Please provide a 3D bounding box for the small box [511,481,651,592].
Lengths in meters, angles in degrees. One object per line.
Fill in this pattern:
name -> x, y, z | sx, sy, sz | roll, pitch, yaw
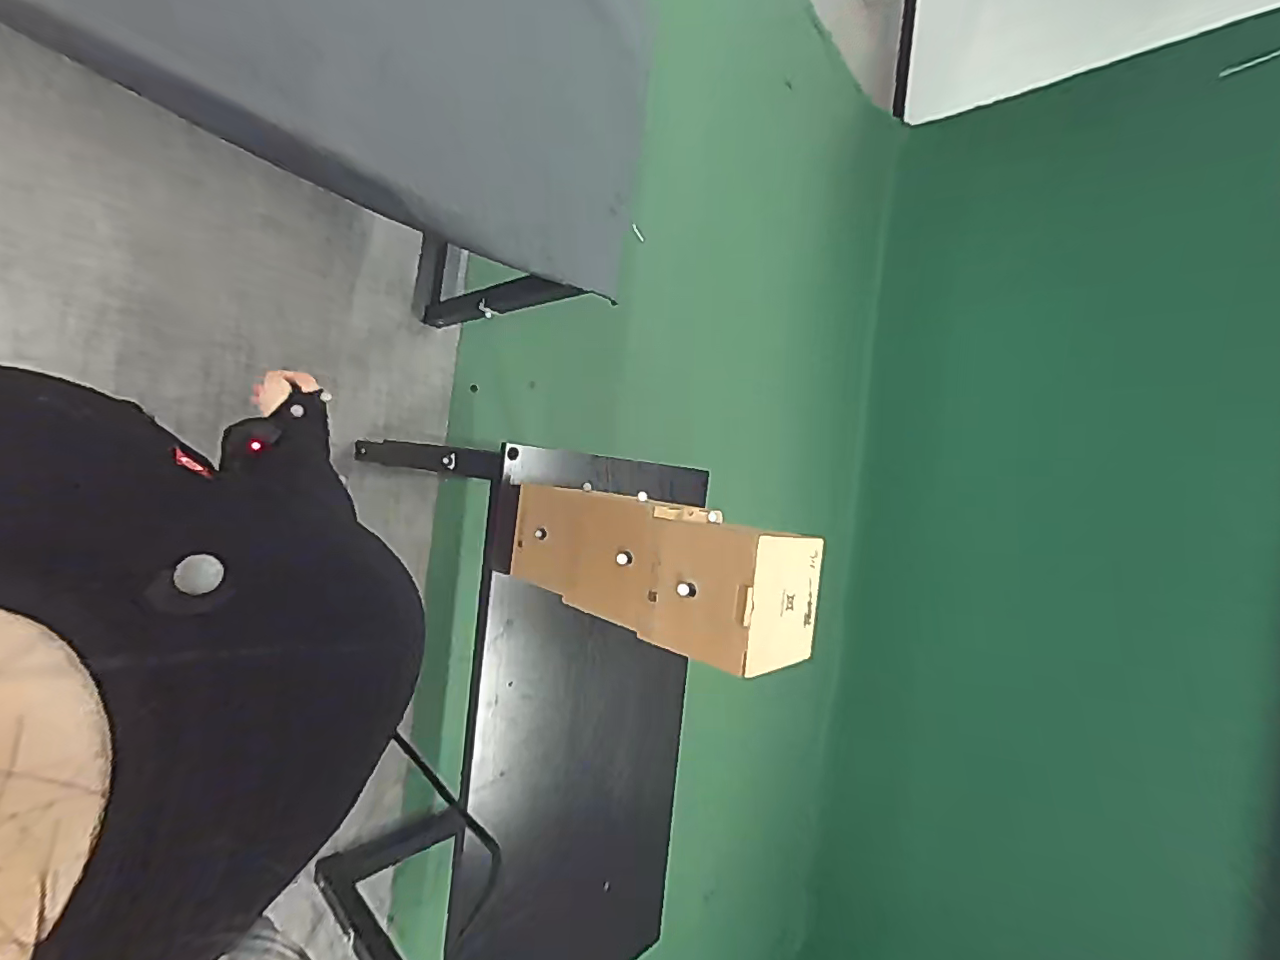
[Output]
small box -> -0.105, 0.095, 0.955 | 0.179, 0.176, 0.168 | 7, 92, -47

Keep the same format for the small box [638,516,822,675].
small box -> 0.118, 0.142, 0.720 | 0.179, 0.176, 0.168 | 9, 89, -46

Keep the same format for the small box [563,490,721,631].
small box -> 0.001, 0.116, 0.833 | 0.168, 0.176, 0.179 | 7, 90, -47
